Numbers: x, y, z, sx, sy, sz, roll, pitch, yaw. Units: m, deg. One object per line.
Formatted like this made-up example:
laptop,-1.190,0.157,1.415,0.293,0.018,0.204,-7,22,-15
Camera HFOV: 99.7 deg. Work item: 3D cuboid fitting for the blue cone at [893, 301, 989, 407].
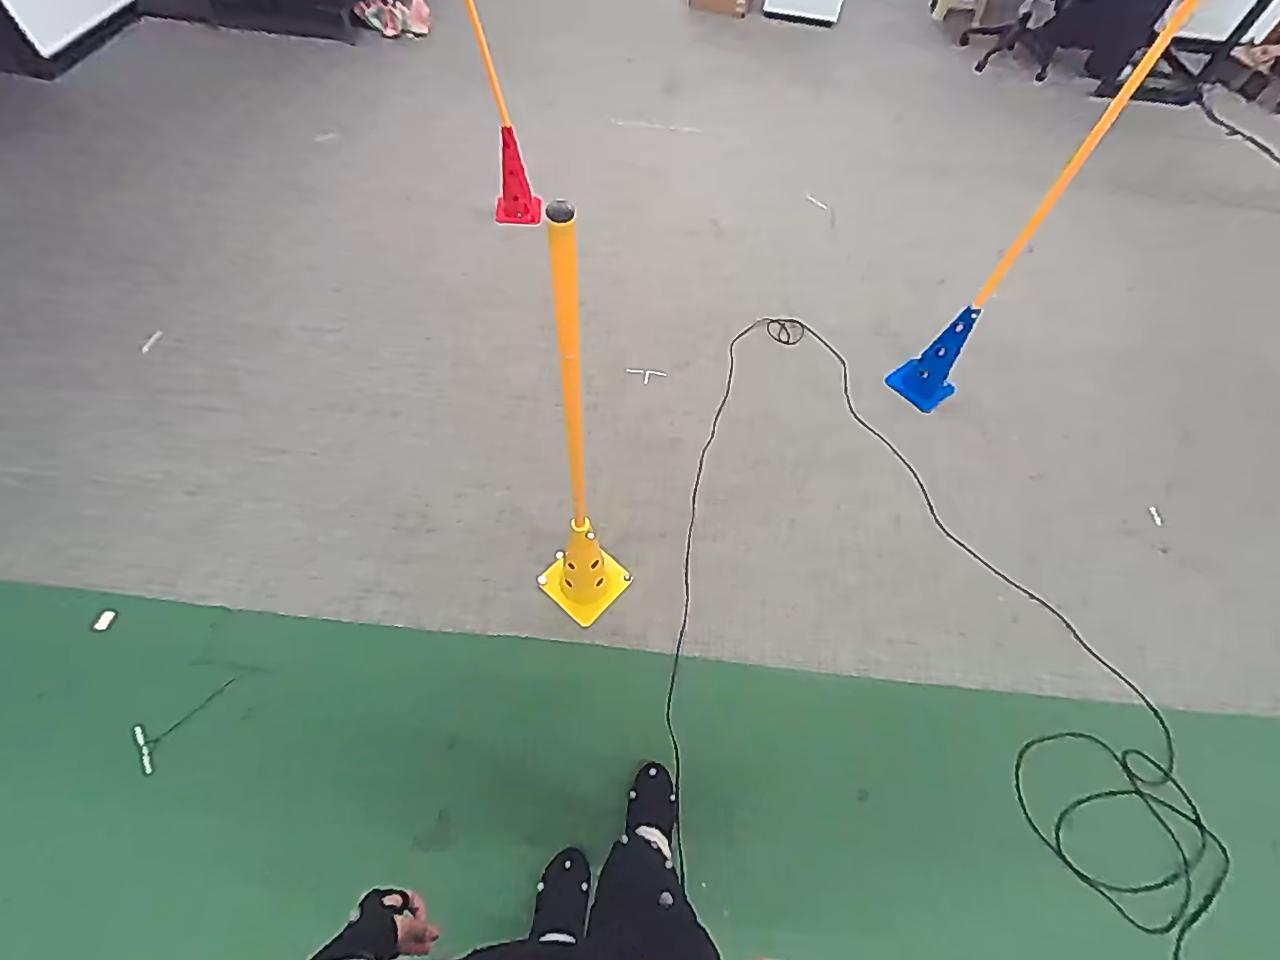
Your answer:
blue cone,1.055,-0.452,1.851,0.193,0.380,0.192,-34,66,-24
